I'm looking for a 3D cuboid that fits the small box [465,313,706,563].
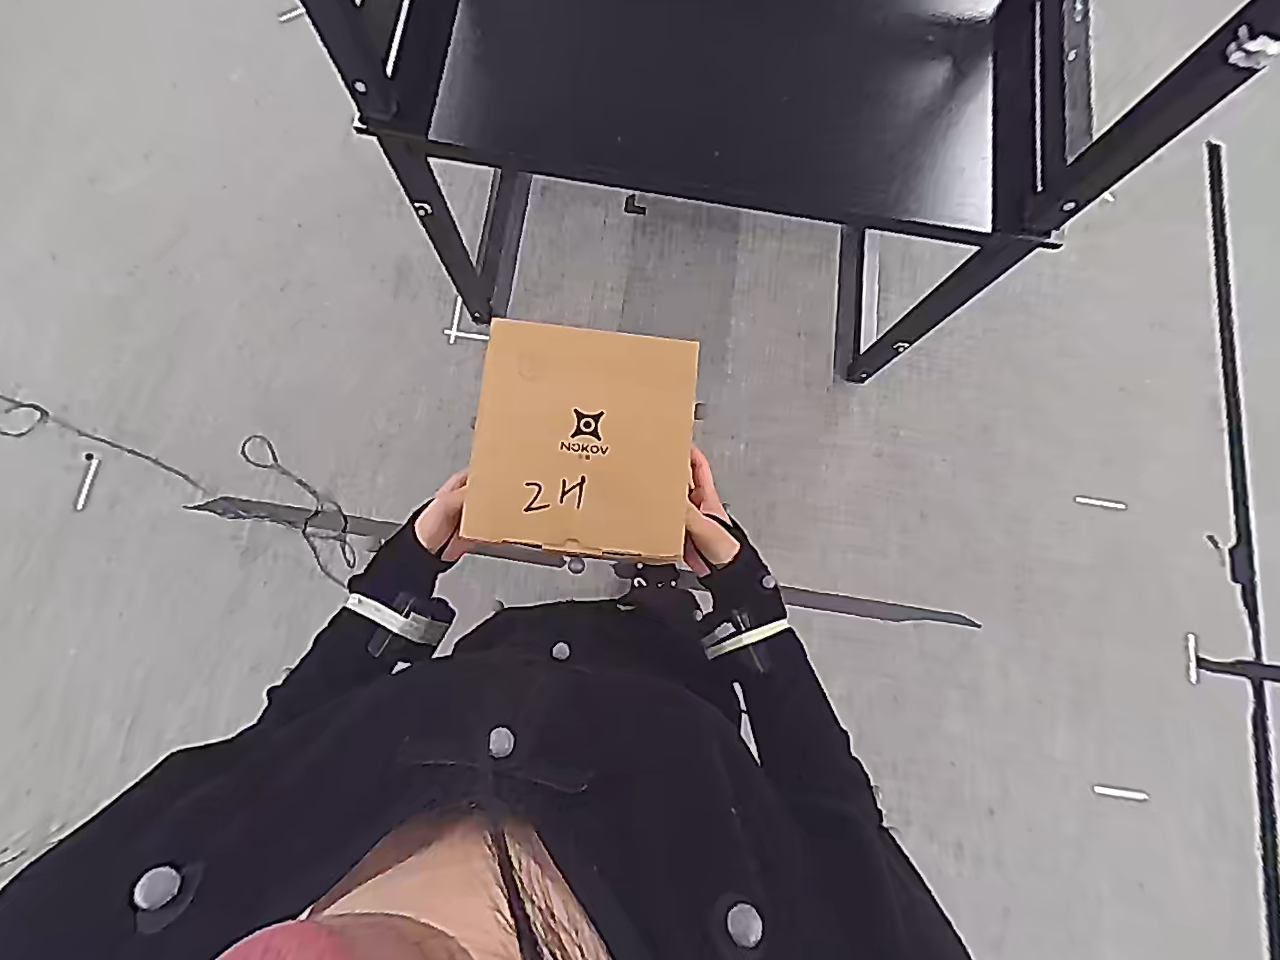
[{"bbox_3d":[-0.044,-0.022,0.488,0.168,0.176,0.179,7,80,-3],"label":"small box"}]
